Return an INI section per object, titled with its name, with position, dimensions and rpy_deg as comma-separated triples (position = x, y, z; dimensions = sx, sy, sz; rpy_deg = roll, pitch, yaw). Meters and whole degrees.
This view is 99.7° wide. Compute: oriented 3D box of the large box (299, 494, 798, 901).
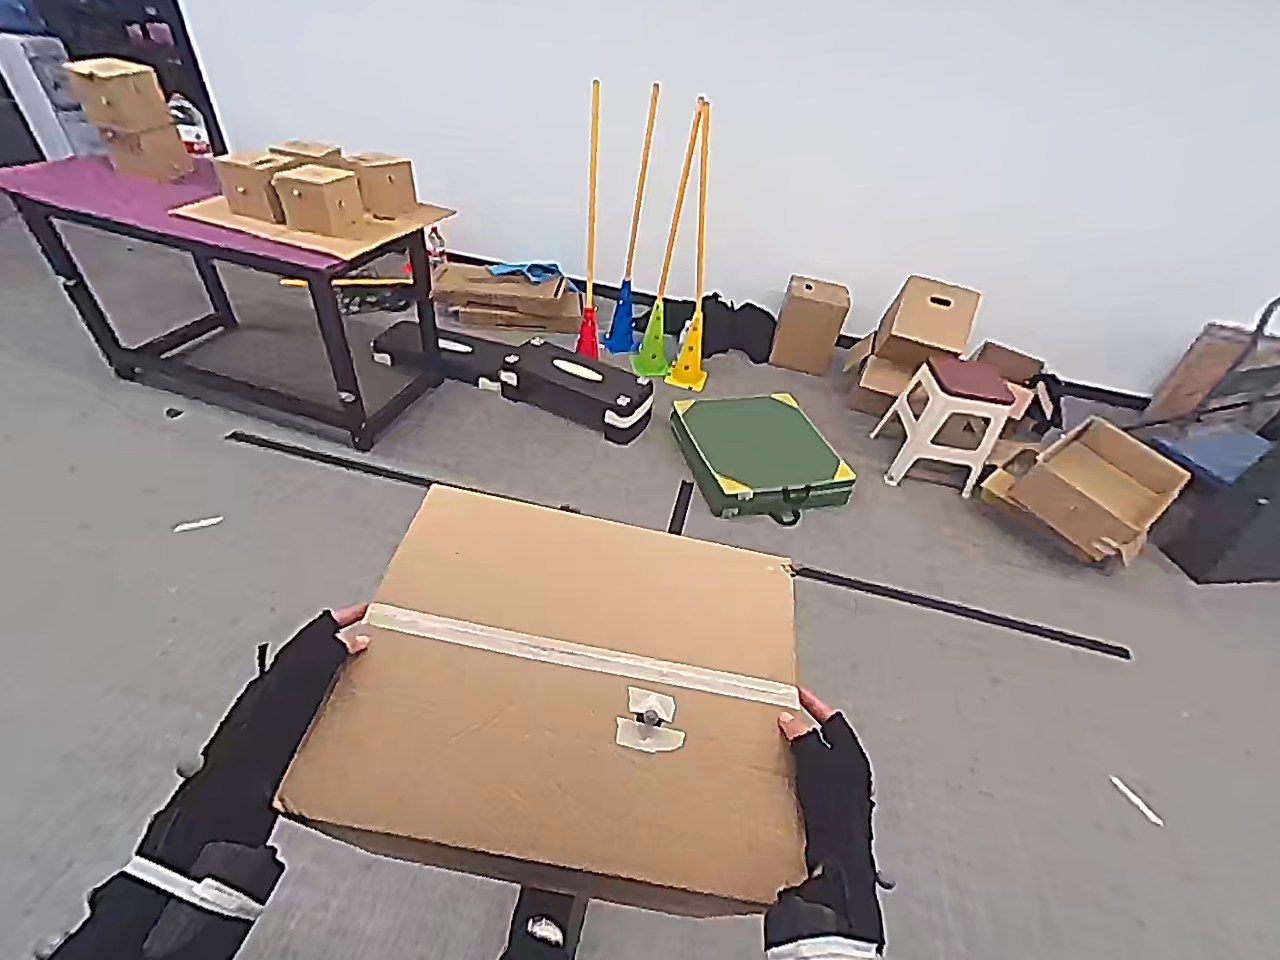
[large box]
position = -0.075, 0.261, 0.626
dimensions = 0.408, 0.320, 0.320
rpy_deg = 13, 51, -2
